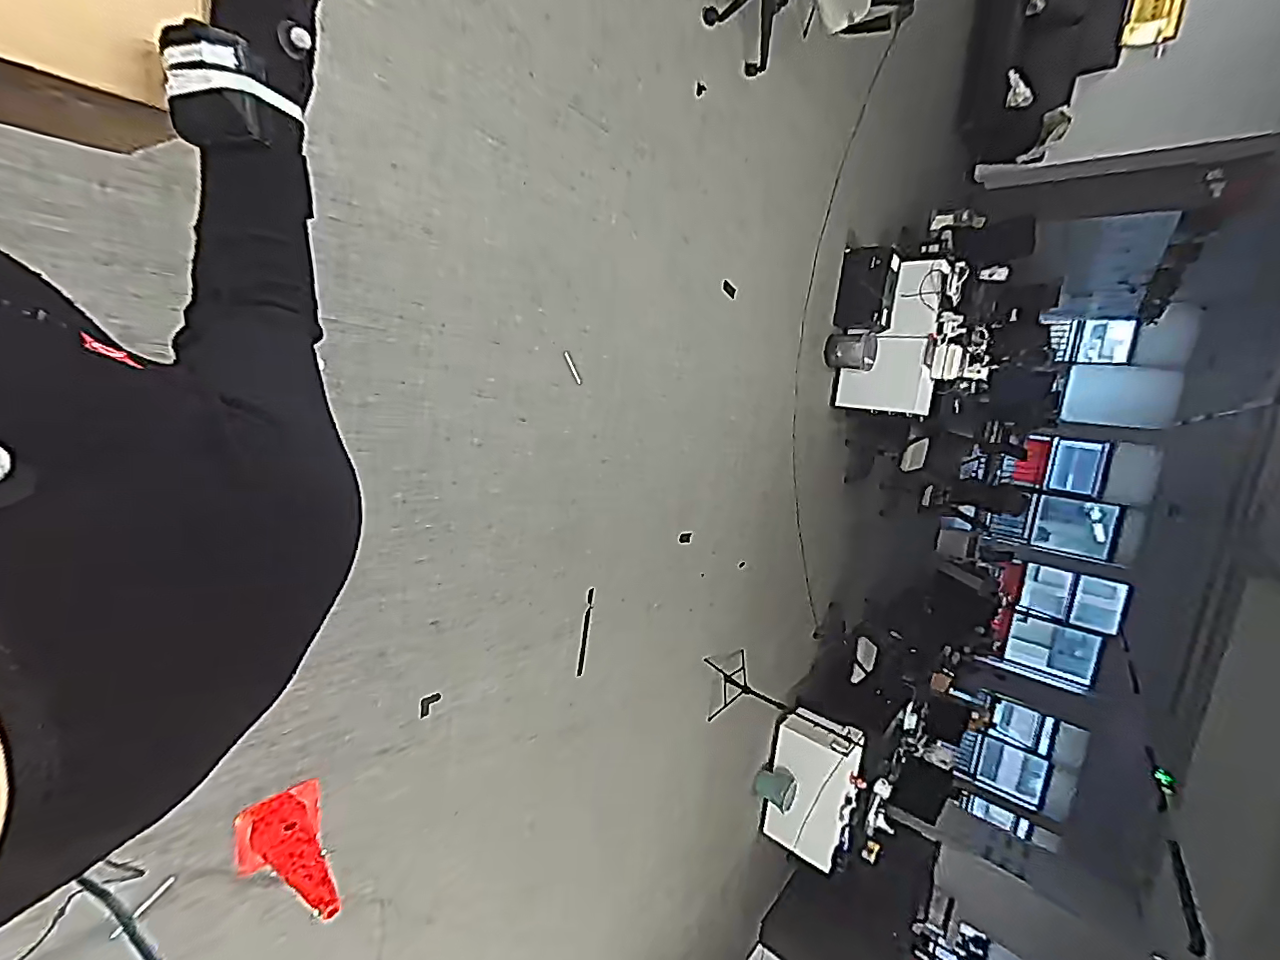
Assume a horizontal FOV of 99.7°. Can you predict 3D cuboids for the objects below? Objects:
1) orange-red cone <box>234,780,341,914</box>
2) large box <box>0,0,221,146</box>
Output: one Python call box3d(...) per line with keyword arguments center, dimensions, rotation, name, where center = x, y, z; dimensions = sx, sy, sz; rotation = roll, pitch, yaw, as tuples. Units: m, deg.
box3d(center=(-0.865, 0.979, 1.384), dimensions=(0.198, 0.360, 0.199), rotation=(-7, 105, -51), name="orange-red cone")
box3d(center=(-0.532, -0.431, 0.295), dimensions=(0.408, 0.320, 0.320), rotation=(-11, 115, -52), name="large box")
